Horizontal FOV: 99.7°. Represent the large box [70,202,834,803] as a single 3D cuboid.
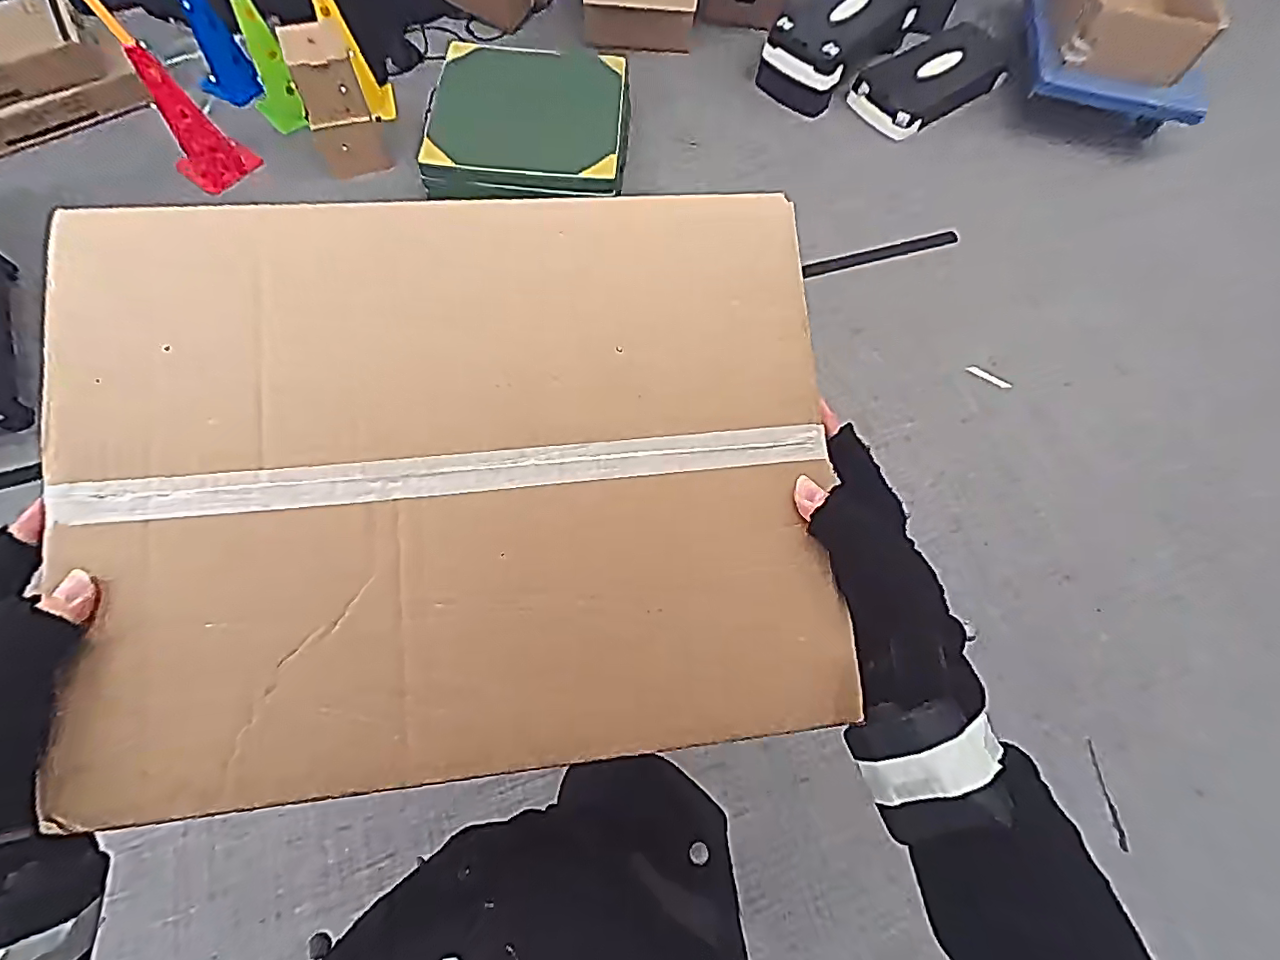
[{"bbox_3d":[-0.111,0.008,0.453,0.408,0.320,0.320,-5,83,-7],"label":"large box"}]
